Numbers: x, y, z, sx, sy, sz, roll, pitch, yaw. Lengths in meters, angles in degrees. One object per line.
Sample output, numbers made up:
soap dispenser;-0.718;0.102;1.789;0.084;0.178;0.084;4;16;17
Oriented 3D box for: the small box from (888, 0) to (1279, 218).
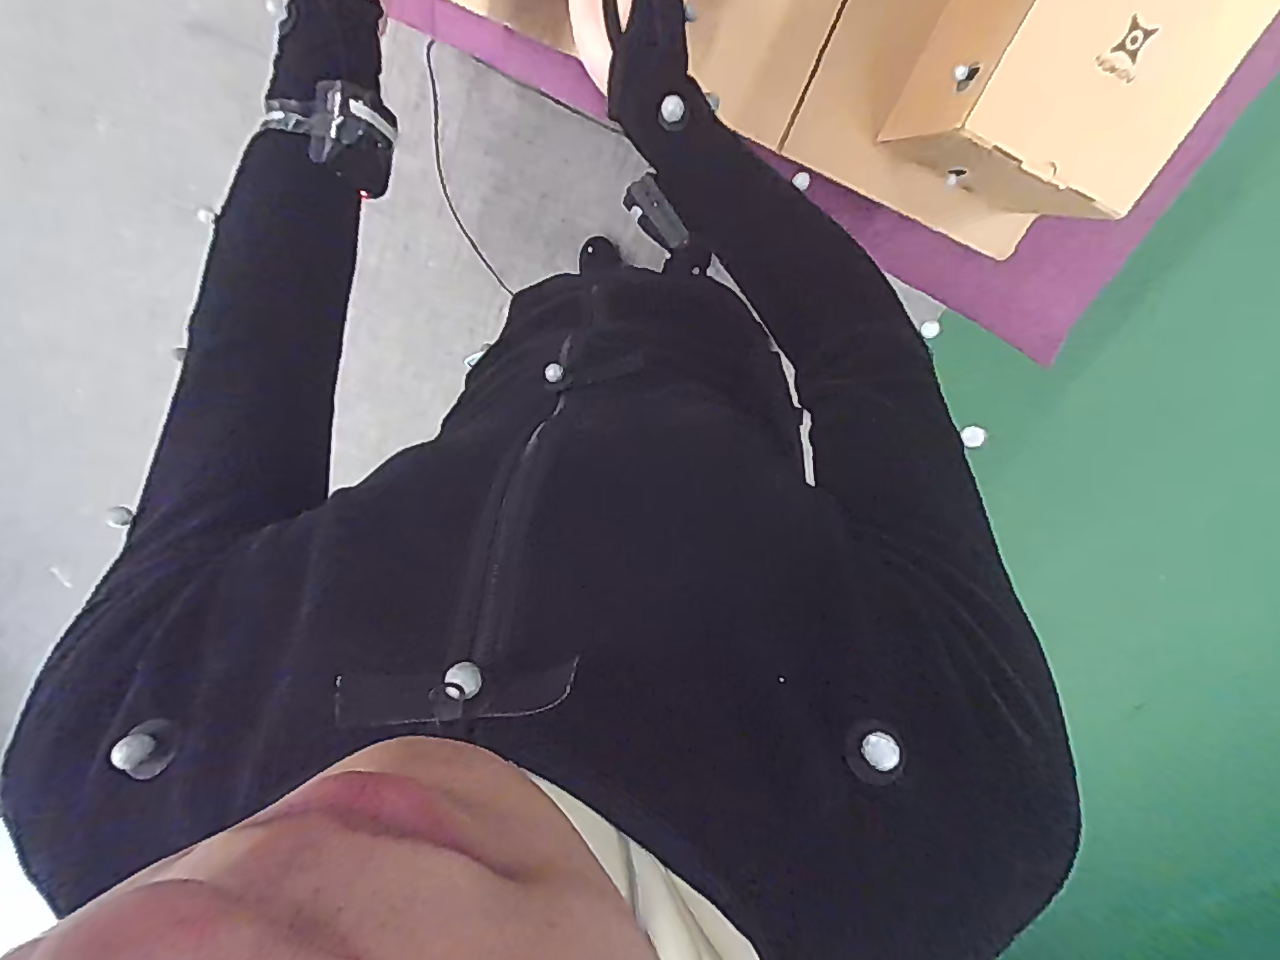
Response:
small box;0.346;-0.346;0.453;0.168;0.176;0.179;19;118;-11
